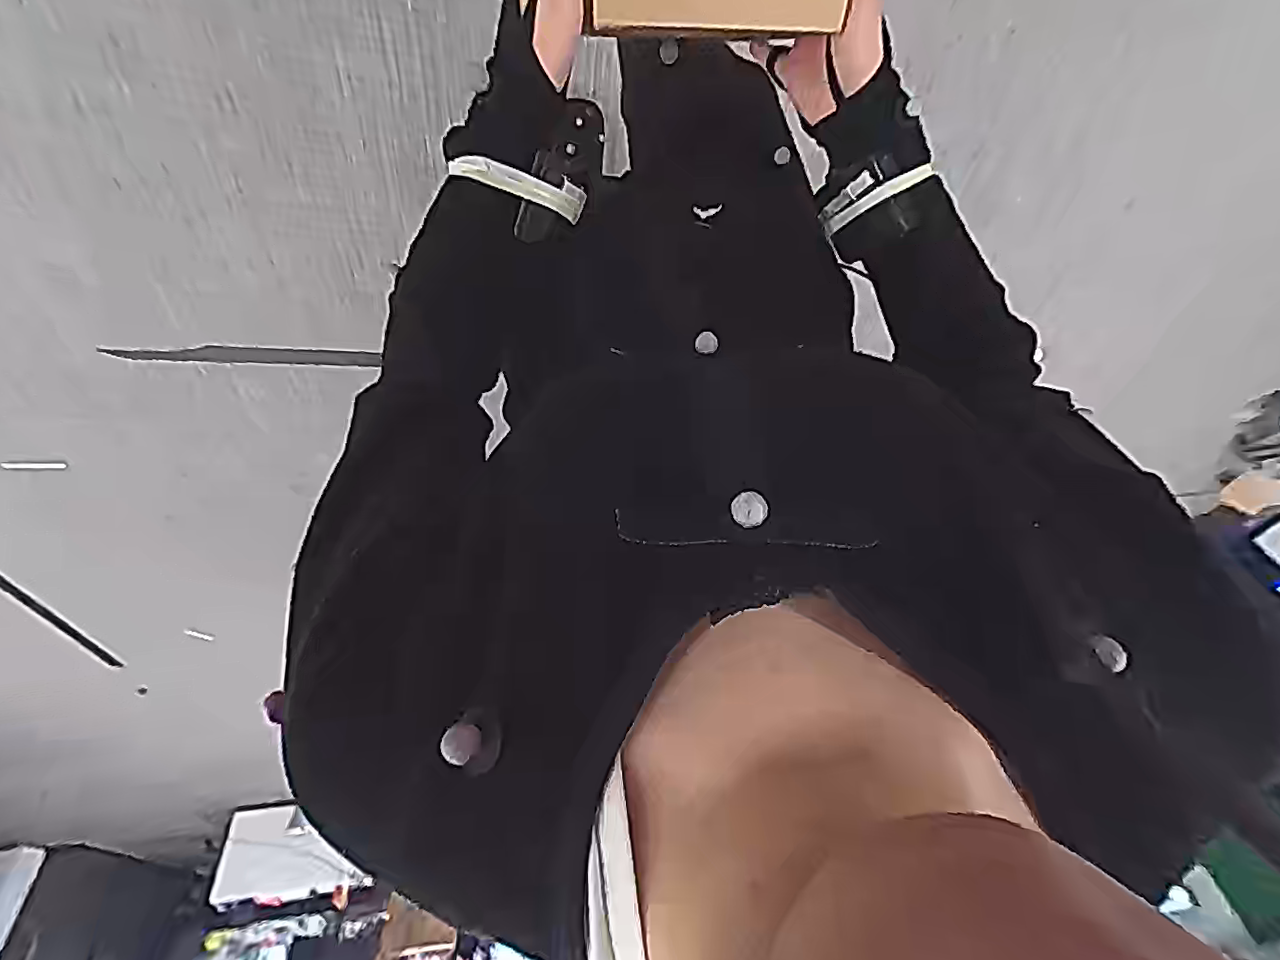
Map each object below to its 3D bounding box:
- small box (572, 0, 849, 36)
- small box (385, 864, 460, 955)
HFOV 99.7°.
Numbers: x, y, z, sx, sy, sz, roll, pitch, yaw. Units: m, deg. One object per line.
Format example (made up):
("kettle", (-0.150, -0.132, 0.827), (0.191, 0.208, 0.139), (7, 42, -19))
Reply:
("small box", (0.039, -0.404, 0.347), (0.168, 0.176, 0.179), (-6, 129, -9))
("small box", (-0.573, 1.133, 1.434), (0.168, 0.176, 0.179), (5, 139, -17))
